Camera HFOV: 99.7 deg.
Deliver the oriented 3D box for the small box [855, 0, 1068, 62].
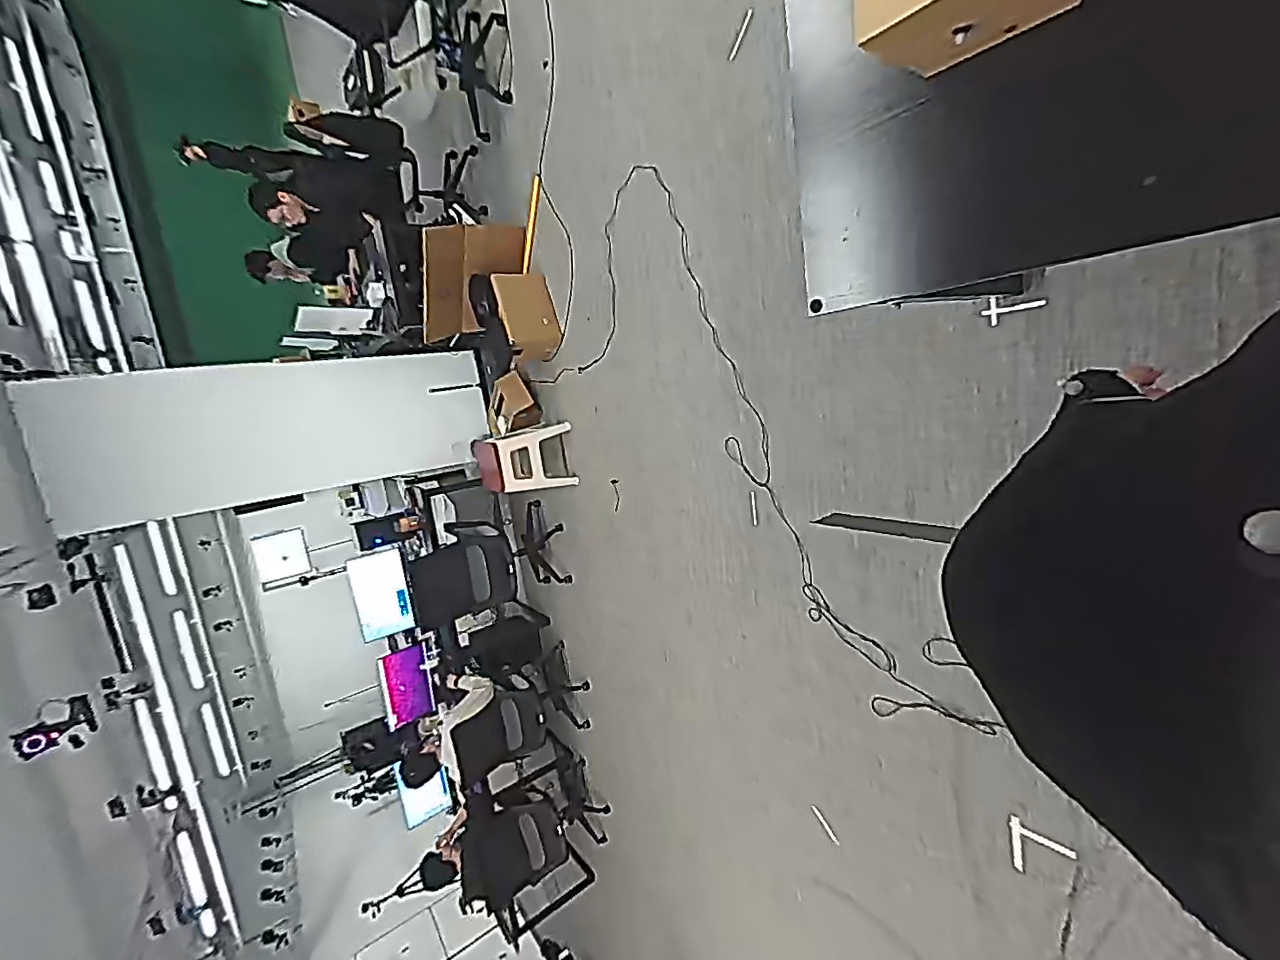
[{"bbox_3d":[0.352,-0.589,0.580,0.168,0.176,0.179,10,110,53],"label":"small box"}]
